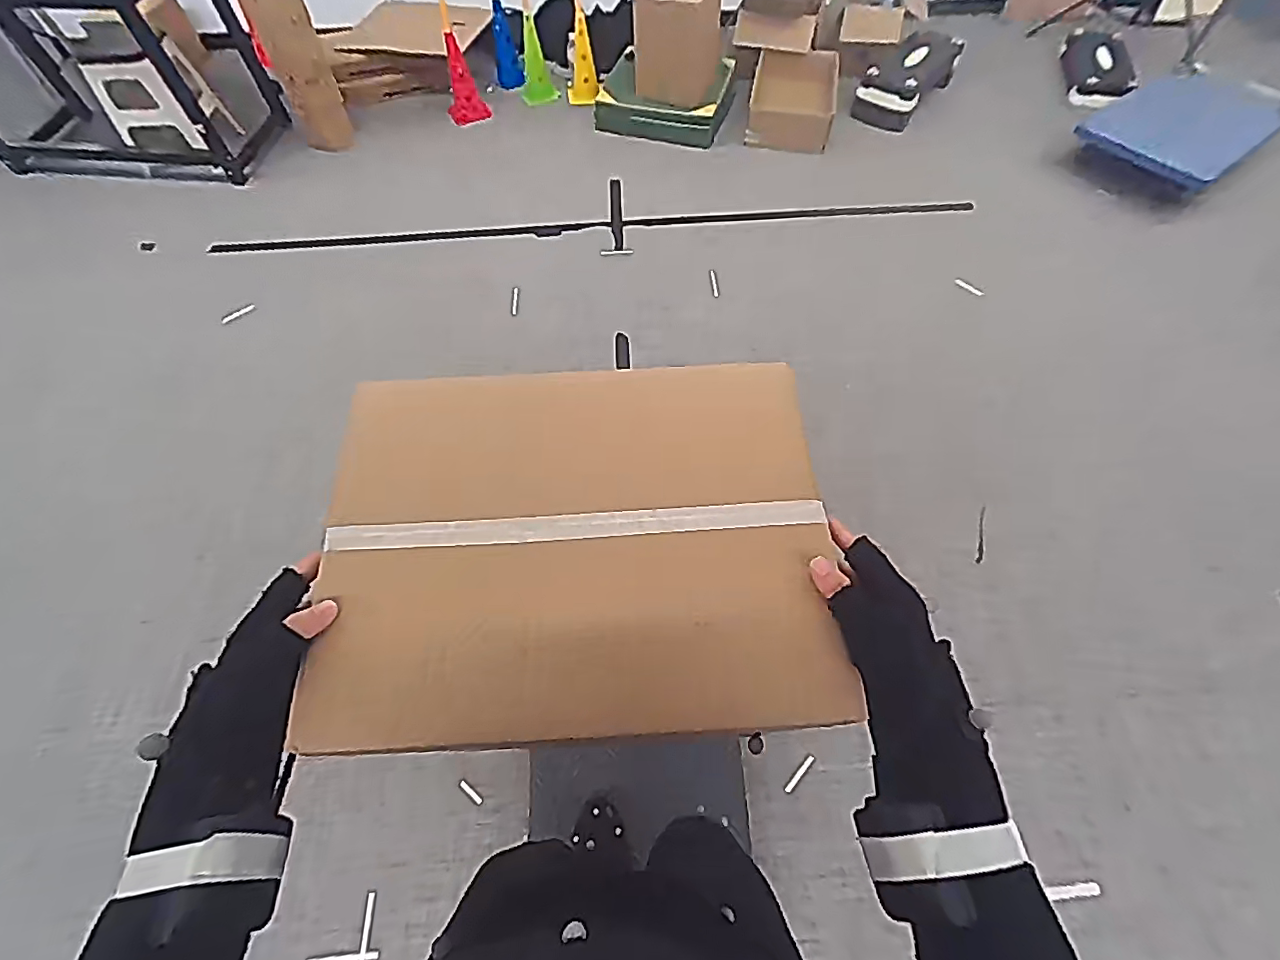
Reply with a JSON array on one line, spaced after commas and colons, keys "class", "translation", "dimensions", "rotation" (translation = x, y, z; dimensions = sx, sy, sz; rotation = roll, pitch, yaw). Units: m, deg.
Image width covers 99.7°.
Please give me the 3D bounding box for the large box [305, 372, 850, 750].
[{"class": "large box", "translation": [-0.050, 0.106, 0.587], "dimensions": [0.408, 0.320, 0.320], "rotation": [-2, 64, -2]}]
